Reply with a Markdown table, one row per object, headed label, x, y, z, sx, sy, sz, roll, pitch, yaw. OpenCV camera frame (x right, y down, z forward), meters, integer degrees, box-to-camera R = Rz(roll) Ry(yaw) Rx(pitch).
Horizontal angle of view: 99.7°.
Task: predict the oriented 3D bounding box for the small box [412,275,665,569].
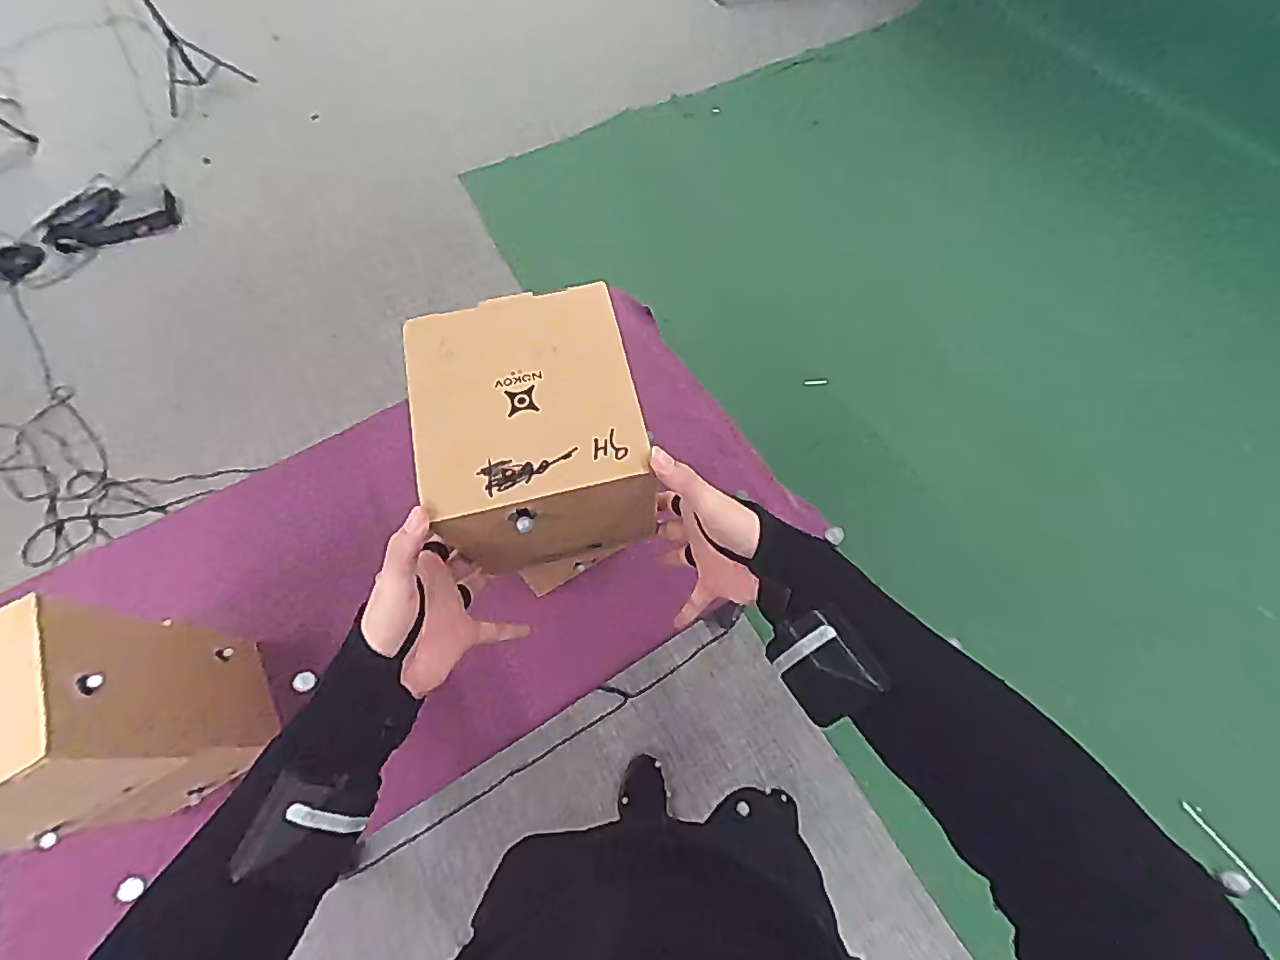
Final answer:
| label | x | y | z | sx | sy | sz | roll | pitch | yaw |
| --- | --- | --- | --- | --- | --- | --- | --- | --- | --- |
| small box | -0.078 | -0.039 | 0.463 | 0.168 | 0.176 | 0.179 | -12 | 68 | -3 |

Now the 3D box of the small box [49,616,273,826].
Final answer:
| label | x | y | z | sx | sy | sz | roll | pitch | yaw |
| --- | --- | --- | --- | --- | --- | --- | --- | --- | --- |
| small box | -0.618 | 0.307 | 0.693 | 0.168 | 0.176 | 0.179 | -29 | 67 | -12 |

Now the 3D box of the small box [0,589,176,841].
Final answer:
| label | x | y | z | sx | sy | sz | roll | pitch | yaw |
| --- | --- | --- | --- | --- | --- | --- | --- | --- | --- |
| small box | -0.618 | 0.242 | 0.543 | 0.168 | 0.176 | 0.179 | -29 | 65 | -12 |
